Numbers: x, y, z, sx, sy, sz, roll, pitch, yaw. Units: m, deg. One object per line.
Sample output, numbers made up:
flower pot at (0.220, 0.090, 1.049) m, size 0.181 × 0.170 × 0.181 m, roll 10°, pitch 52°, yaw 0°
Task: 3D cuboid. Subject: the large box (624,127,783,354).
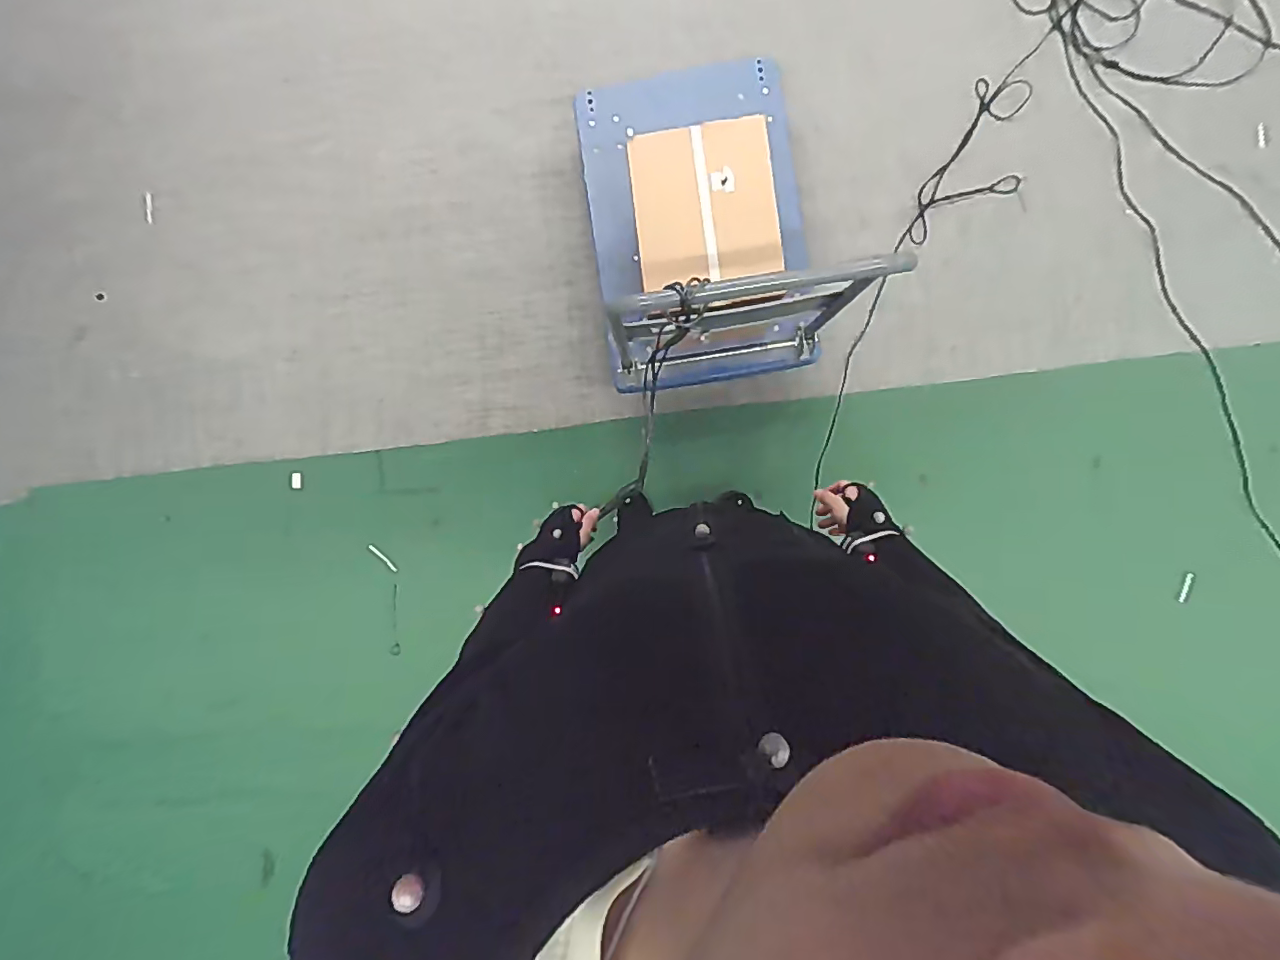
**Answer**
large box at (0.150, -0.571, 1.356) m, size 0.320 × 0.320 × 0.408 m, roll -7°, pitch 87°, yaw 2°
